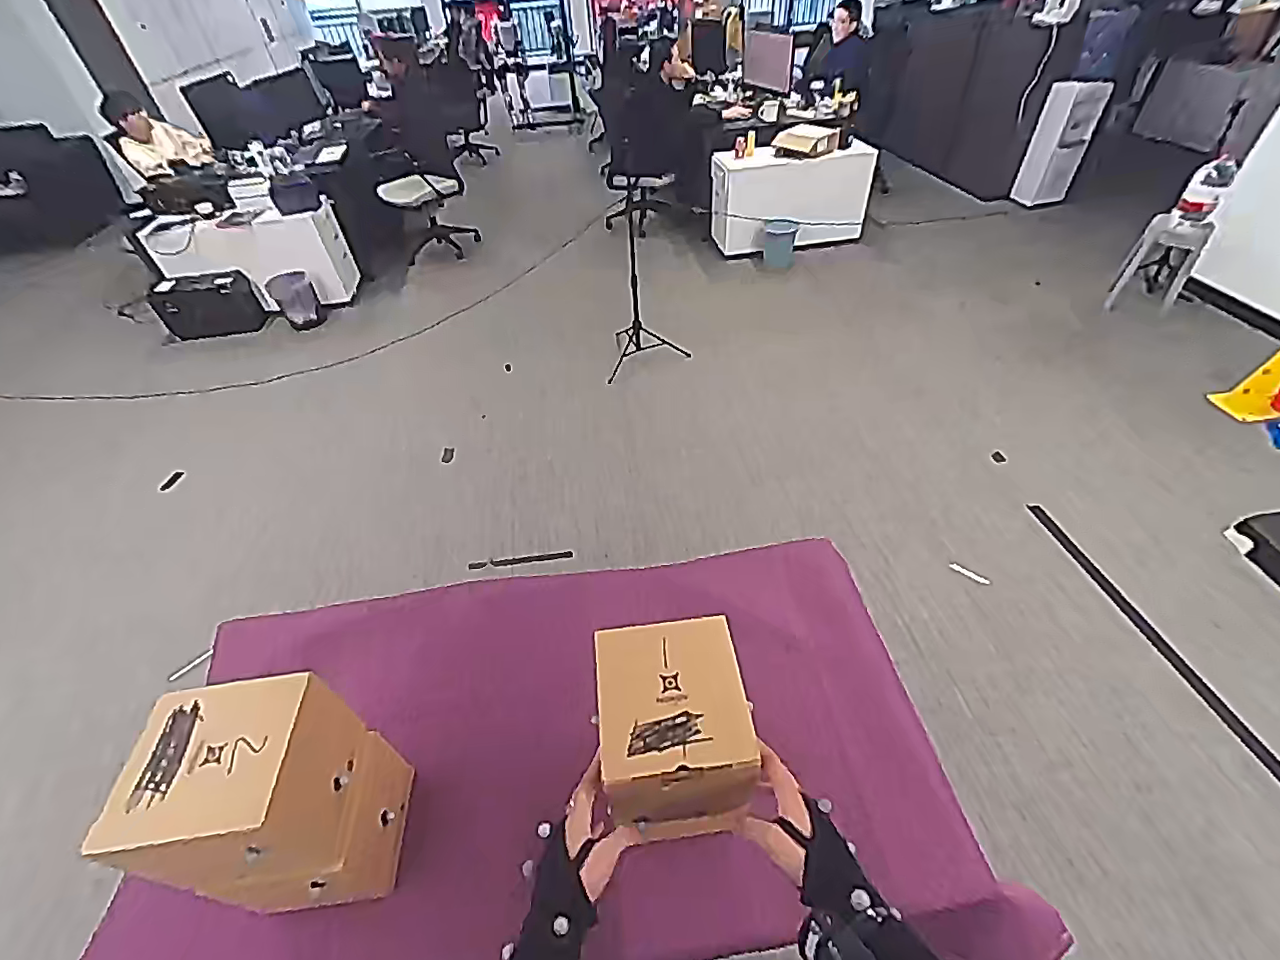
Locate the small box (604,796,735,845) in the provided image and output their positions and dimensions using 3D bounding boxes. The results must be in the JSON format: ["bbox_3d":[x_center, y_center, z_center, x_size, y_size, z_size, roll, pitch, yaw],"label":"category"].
[{"bbox_3d":[0.039,0.404,0.782,0.179,0.176,0.168,-7,44,-3],"label":"small box"}]

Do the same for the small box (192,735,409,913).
[{"bbox_3d":[-0.443,0.476,0.747,0.179,0.176,0.168,-7,44,-2],"label":"small box"}]

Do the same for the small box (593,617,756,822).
[{"bbox_3d":[0.036,0.295,0.658,0.168,0.176,0.179,-6,43,-3],"label":"small box"}]
